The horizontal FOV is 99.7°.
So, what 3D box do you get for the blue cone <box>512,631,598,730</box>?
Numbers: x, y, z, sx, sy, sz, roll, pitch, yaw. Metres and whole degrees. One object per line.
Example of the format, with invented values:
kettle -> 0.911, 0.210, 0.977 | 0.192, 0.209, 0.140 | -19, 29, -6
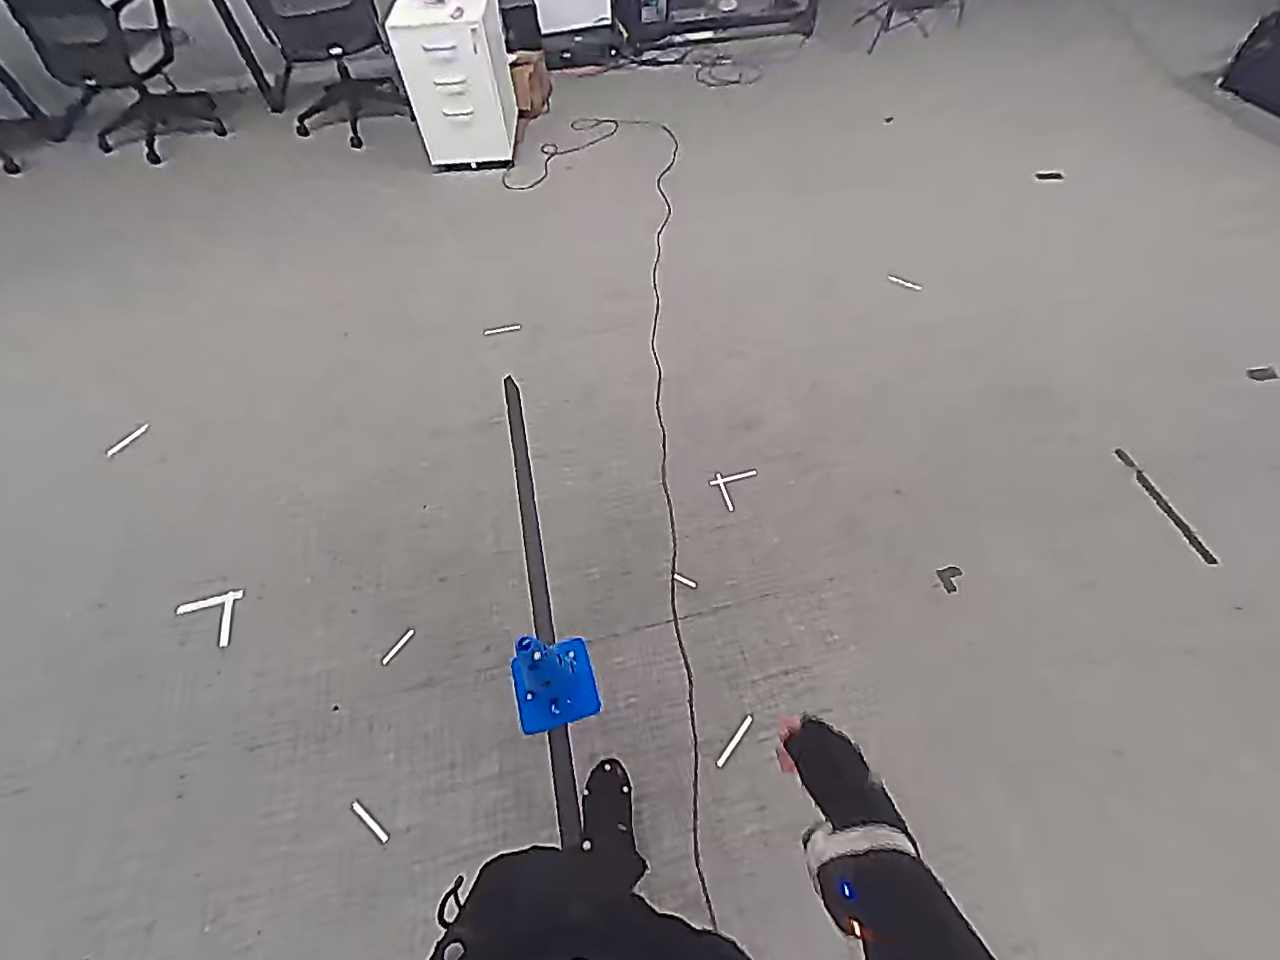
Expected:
blue cone -> -0.225, 0.418, 1.217 | 0.192, 0.380, 0.193 | -17, 57, -8
